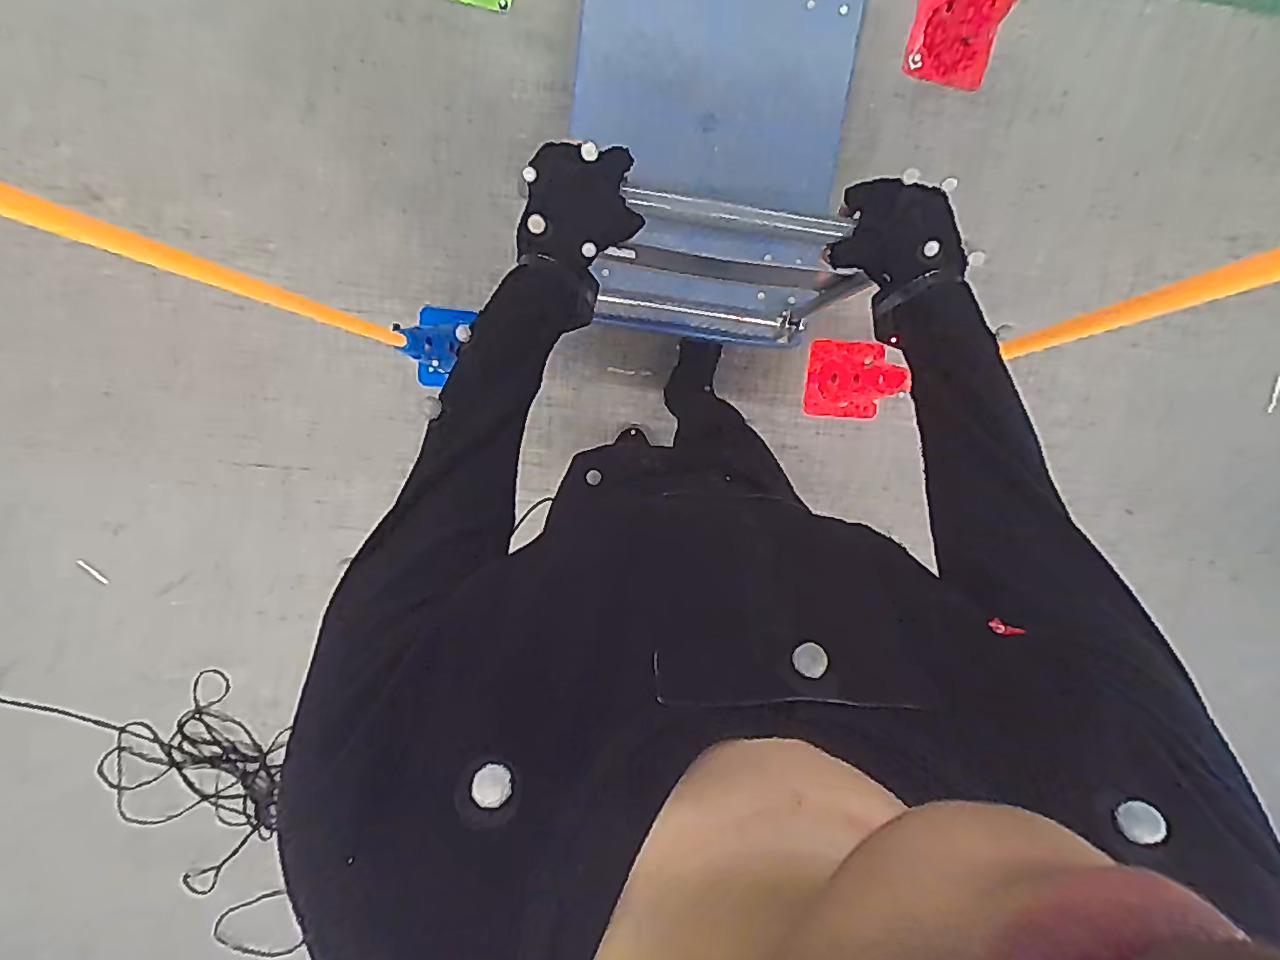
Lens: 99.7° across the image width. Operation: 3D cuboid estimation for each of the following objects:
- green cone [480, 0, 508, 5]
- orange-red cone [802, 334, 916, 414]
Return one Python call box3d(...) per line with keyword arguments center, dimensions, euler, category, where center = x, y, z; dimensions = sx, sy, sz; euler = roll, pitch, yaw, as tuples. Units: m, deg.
box3d(center=(-0.378, -1.178, 1.059), dimensions=(0.202, 0.368, 0.200), euler=(10, 100, -2), category="green cone")
box3d(center=(0.536, -0.248, 1.263), dimensions=(0.199, 0.360, 0.198), euler=(5, 100, -1), category="orange-red cone")
